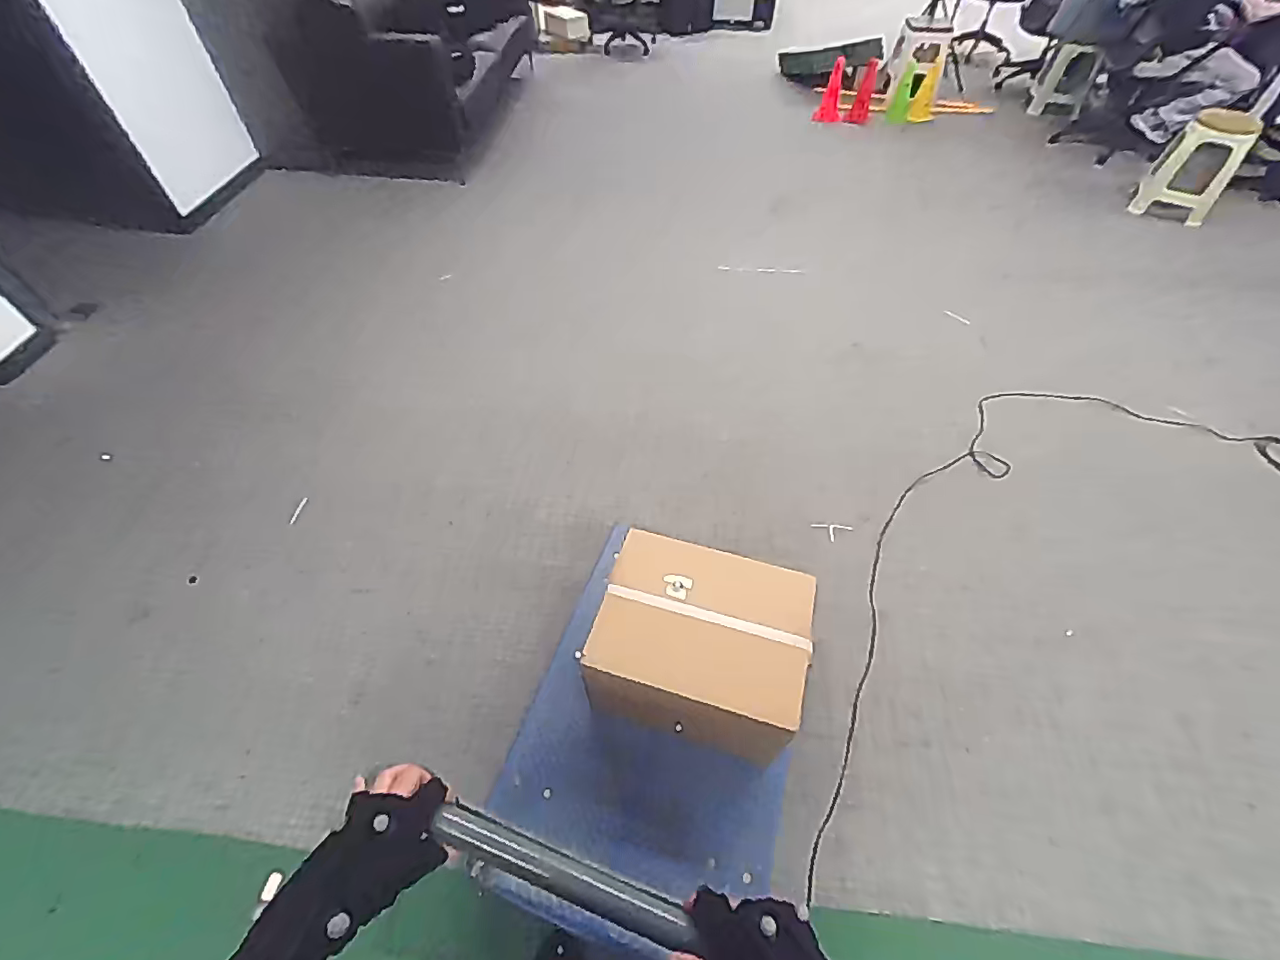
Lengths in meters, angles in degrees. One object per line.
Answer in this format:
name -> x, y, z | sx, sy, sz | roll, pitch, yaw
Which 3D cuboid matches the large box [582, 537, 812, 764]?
large box -> 0.127, 0.370, 1.168 | 0.408, 0.320, 0.320 | 13, 52, 11
